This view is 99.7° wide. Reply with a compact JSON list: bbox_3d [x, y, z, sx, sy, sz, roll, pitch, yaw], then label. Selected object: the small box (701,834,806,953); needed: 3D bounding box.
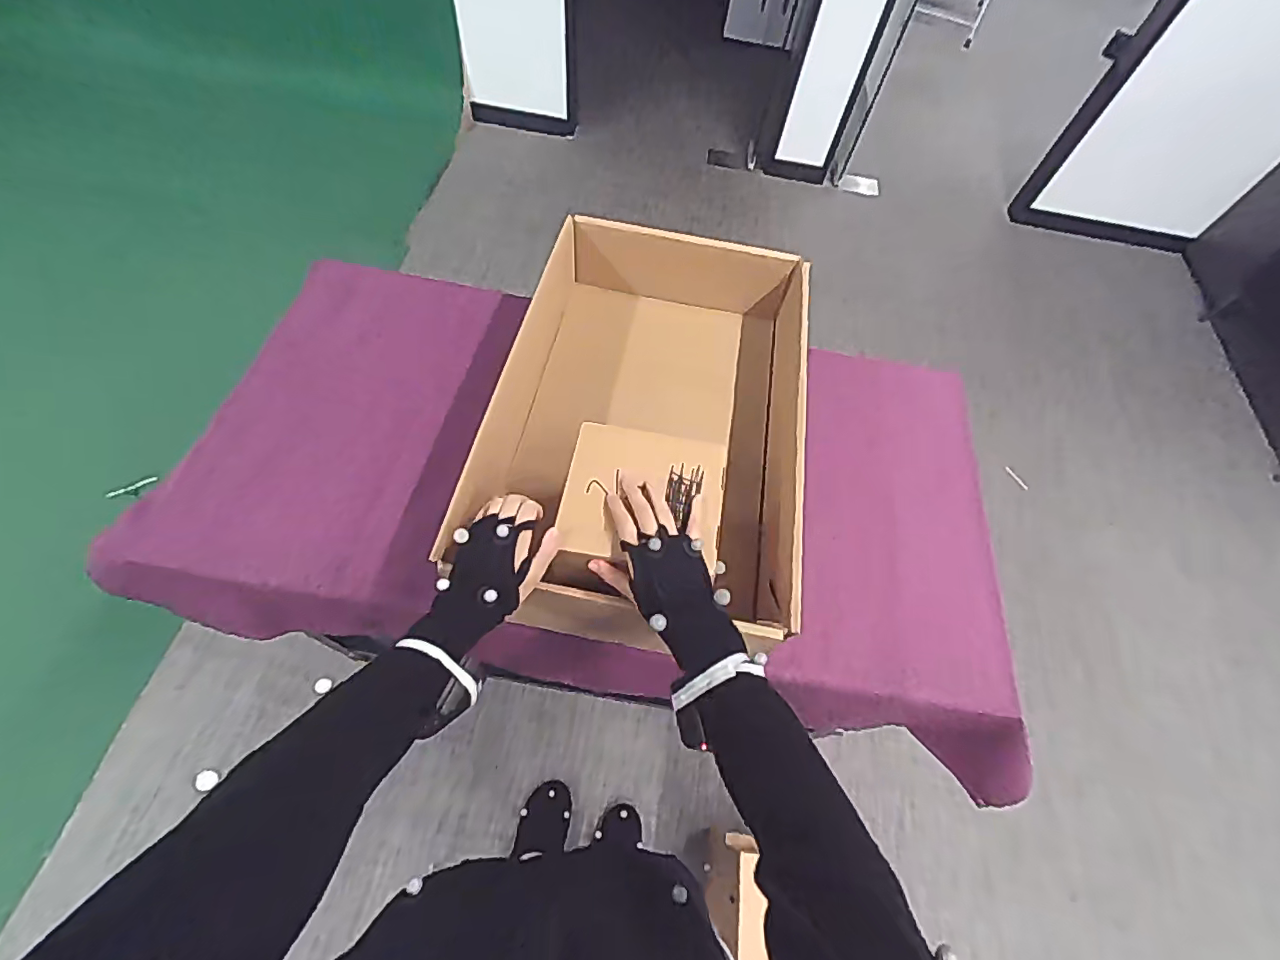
[{"bbox_3d":[0.235,0.858,1.139,0.179,0.176,0.168,9,60,0],"label":"small box"}]
